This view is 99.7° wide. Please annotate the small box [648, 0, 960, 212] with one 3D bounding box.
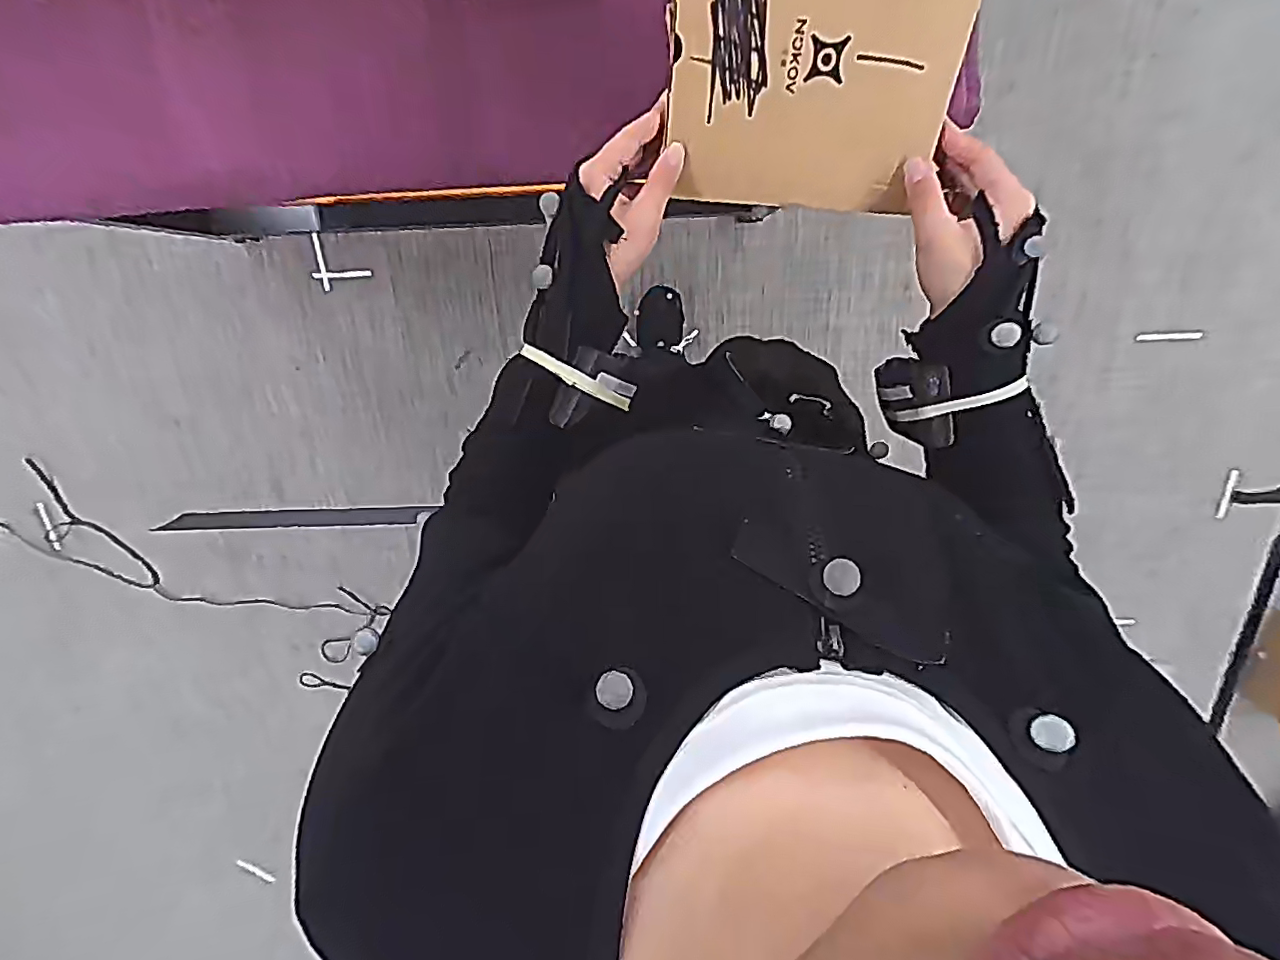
[{"bbox_3d":[0.103,-0.301,0.397,0.179,0.176,0.168,5,123,2],"label":"small box"}]
